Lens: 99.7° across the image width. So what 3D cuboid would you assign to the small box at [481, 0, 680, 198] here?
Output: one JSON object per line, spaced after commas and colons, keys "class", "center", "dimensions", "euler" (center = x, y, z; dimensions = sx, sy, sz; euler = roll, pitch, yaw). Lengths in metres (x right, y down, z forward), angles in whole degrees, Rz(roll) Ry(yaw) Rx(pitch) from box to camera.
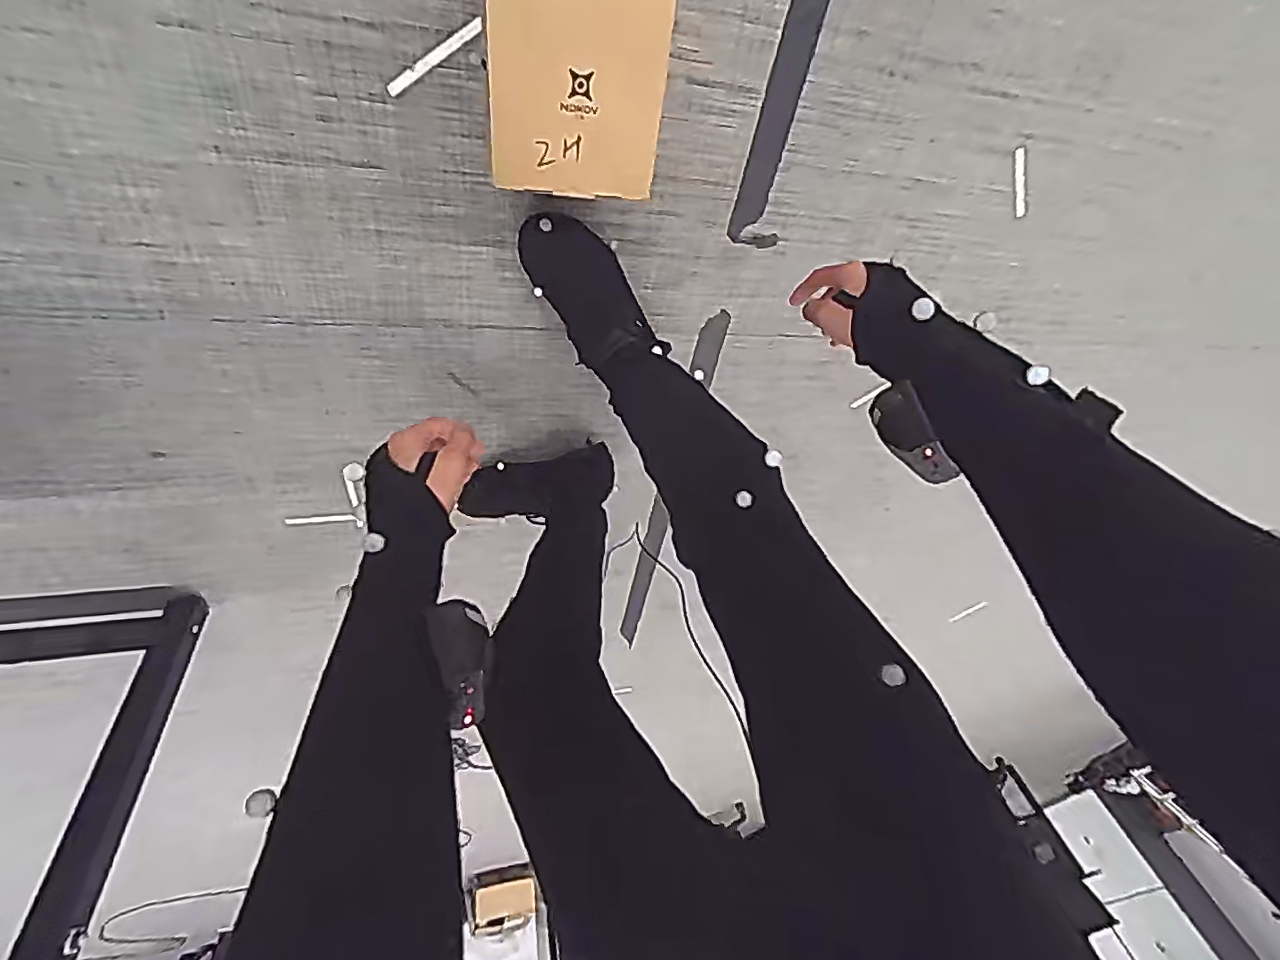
{"class": "small box", "center": [-0.074, -0.416, 0.556], "dimensions": [0.168, 0.176, 0.179], "euler": [-3, 135, -15]}
